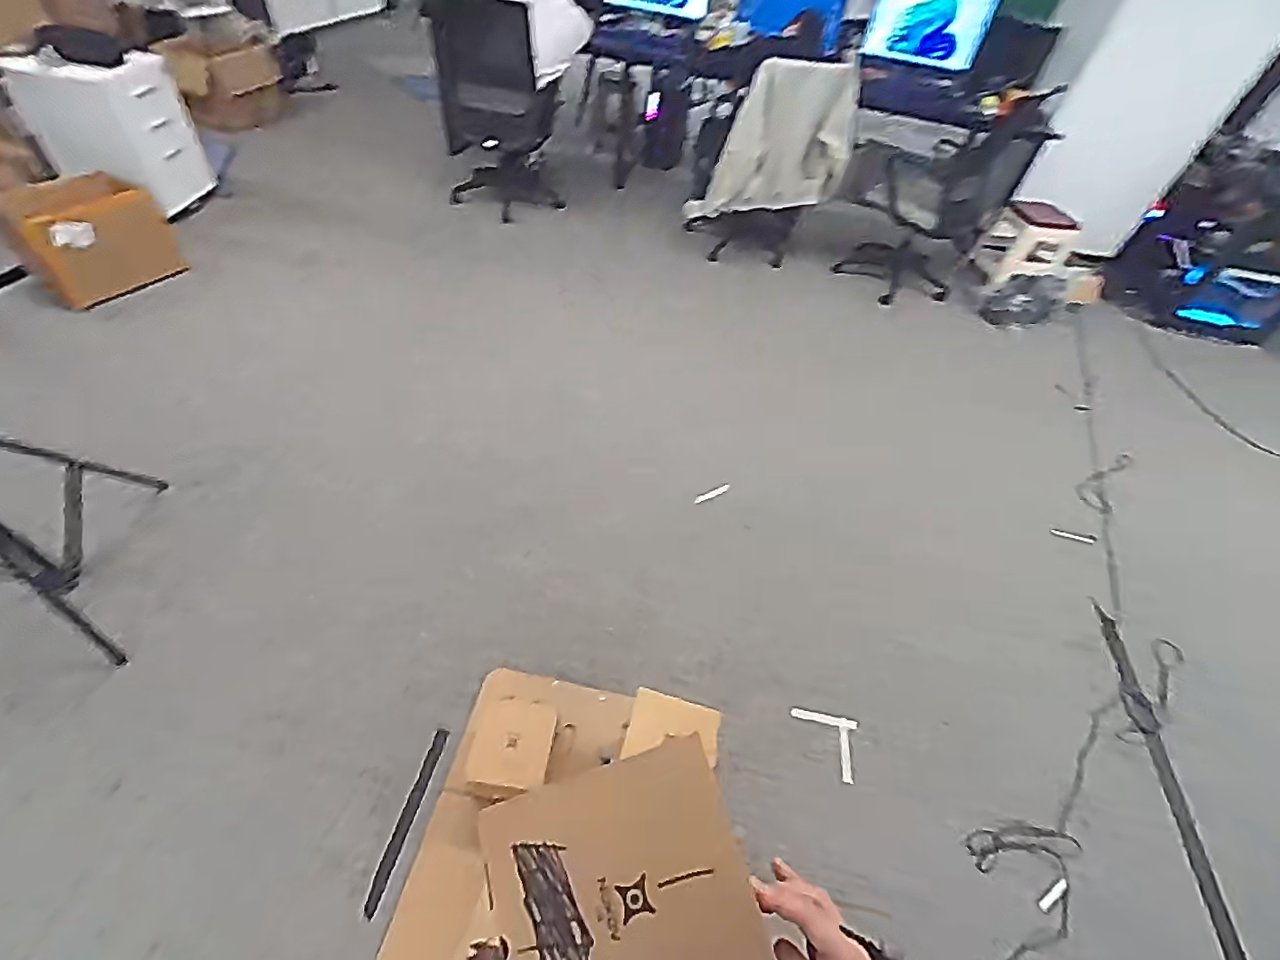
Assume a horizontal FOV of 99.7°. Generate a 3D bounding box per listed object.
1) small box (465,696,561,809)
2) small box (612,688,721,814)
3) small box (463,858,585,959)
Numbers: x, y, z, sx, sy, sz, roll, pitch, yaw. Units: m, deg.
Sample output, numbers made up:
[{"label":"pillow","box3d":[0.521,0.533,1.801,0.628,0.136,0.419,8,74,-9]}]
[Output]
[{"label":"small box","box3d":[-0.275,0.612,1.211,0.168,0.176,0.179,8,47,0]},{"label":"small box","box3d":[0.050,0.551,1.092,0.179,0.176,0.168,16,49,4]},{"label":"small box","box3d":[-0.210,0.847,1.010,0.168,0.176,0.179,19,50,8]}]
